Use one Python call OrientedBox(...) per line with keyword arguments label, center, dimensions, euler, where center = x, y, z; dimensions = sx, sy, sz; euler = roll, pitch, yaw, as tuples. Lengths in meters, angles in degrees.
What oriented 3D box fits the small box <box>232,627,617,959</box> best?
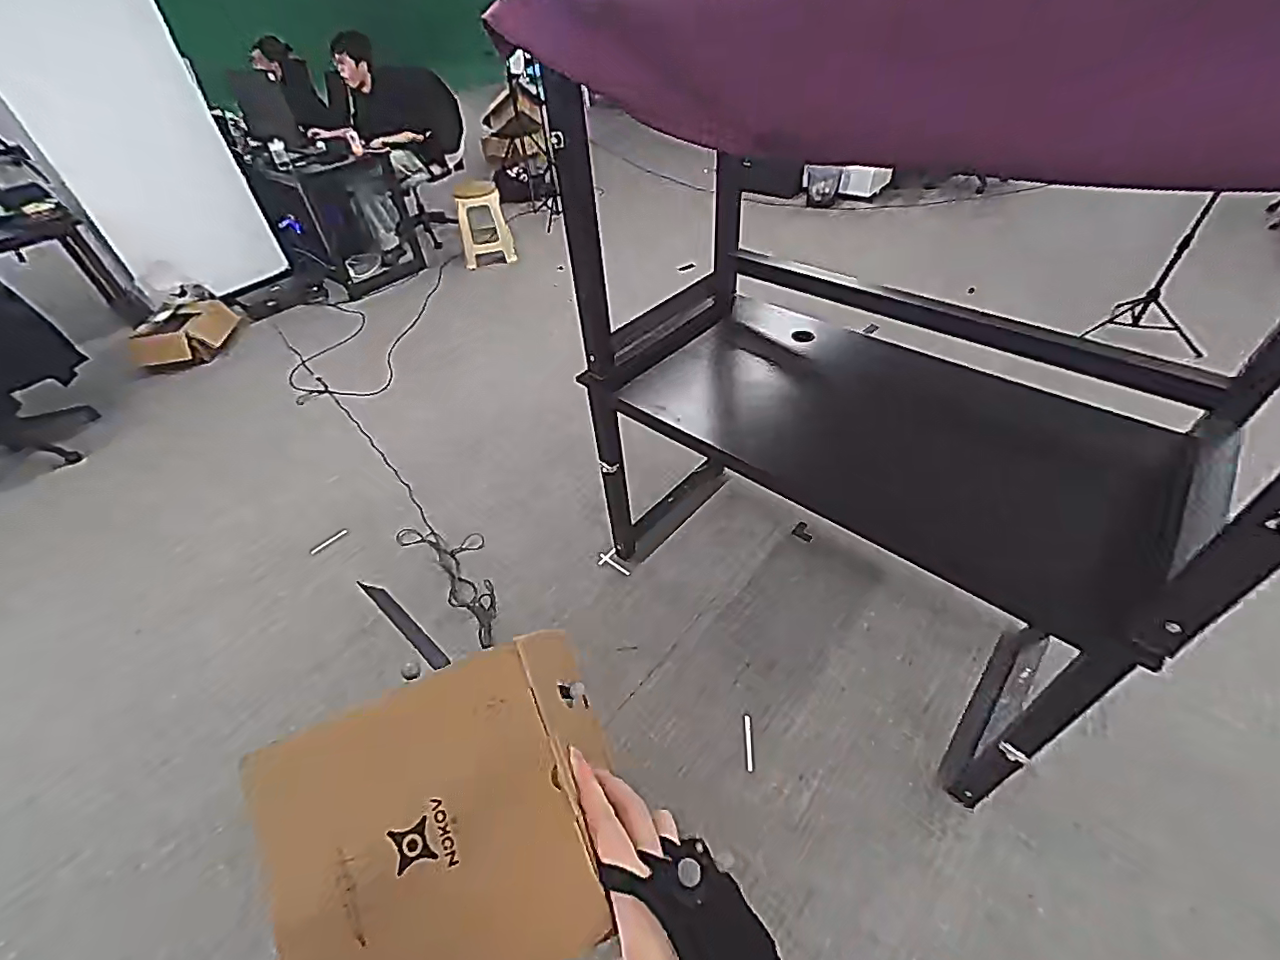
OrientedBox(label="small box", center=(-0.121, 0.209, 0.373), dimensions=(0.179, 0.176, 0.168), euler=(-22, 76, -3))
